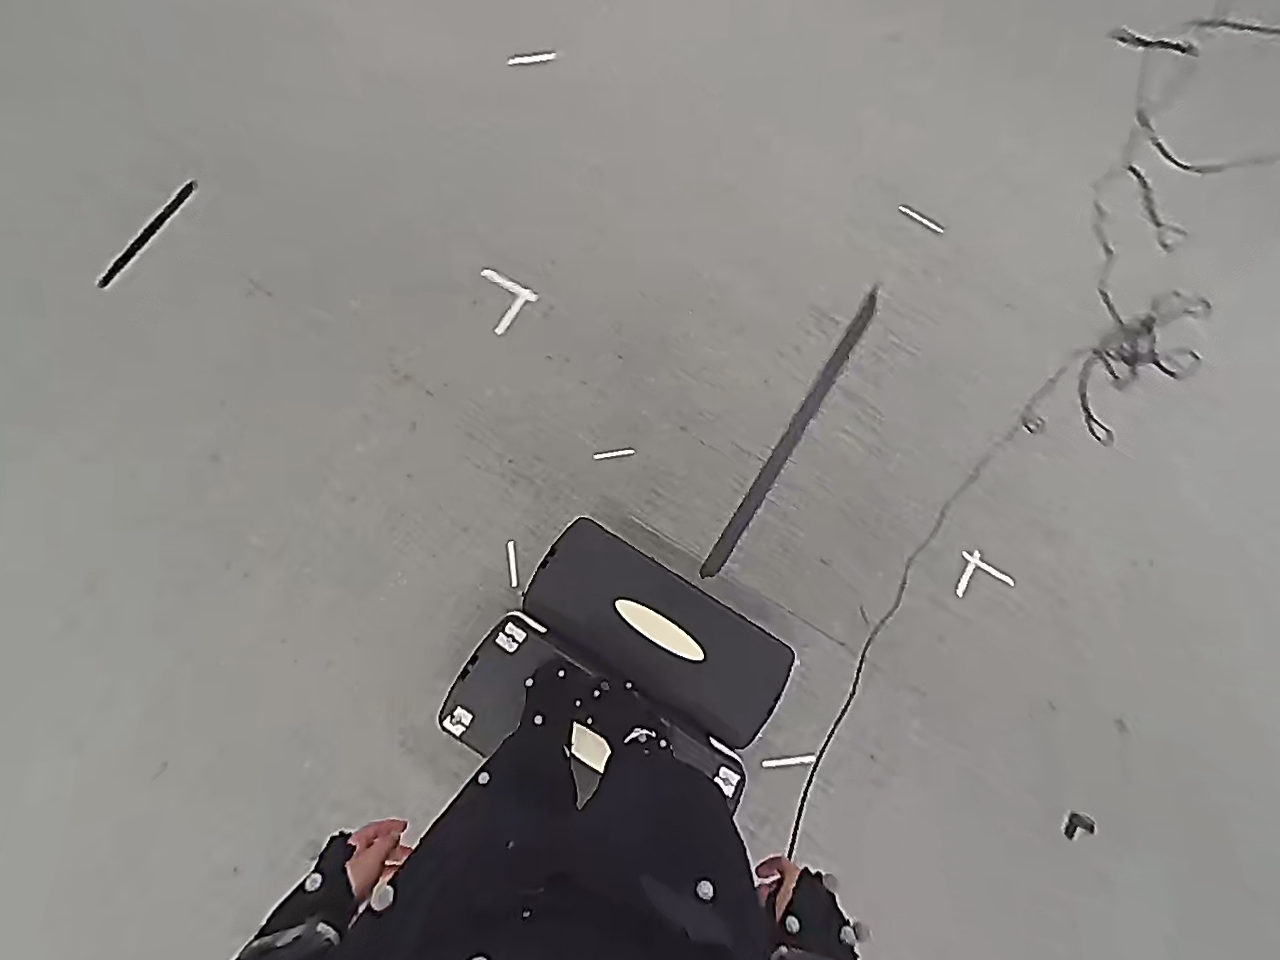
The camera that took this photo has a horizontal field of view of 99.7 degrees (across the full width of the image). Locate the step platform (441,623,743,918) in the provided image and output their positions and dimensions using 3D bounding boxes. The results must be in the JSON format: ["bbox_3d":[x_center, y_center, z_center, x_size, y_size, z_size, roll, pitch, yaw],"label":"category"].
[{"bbox_3d":[-0.108,0.633,1.235,0.684,0.204,0.286,36,77,6],"label":"step platform"}]
